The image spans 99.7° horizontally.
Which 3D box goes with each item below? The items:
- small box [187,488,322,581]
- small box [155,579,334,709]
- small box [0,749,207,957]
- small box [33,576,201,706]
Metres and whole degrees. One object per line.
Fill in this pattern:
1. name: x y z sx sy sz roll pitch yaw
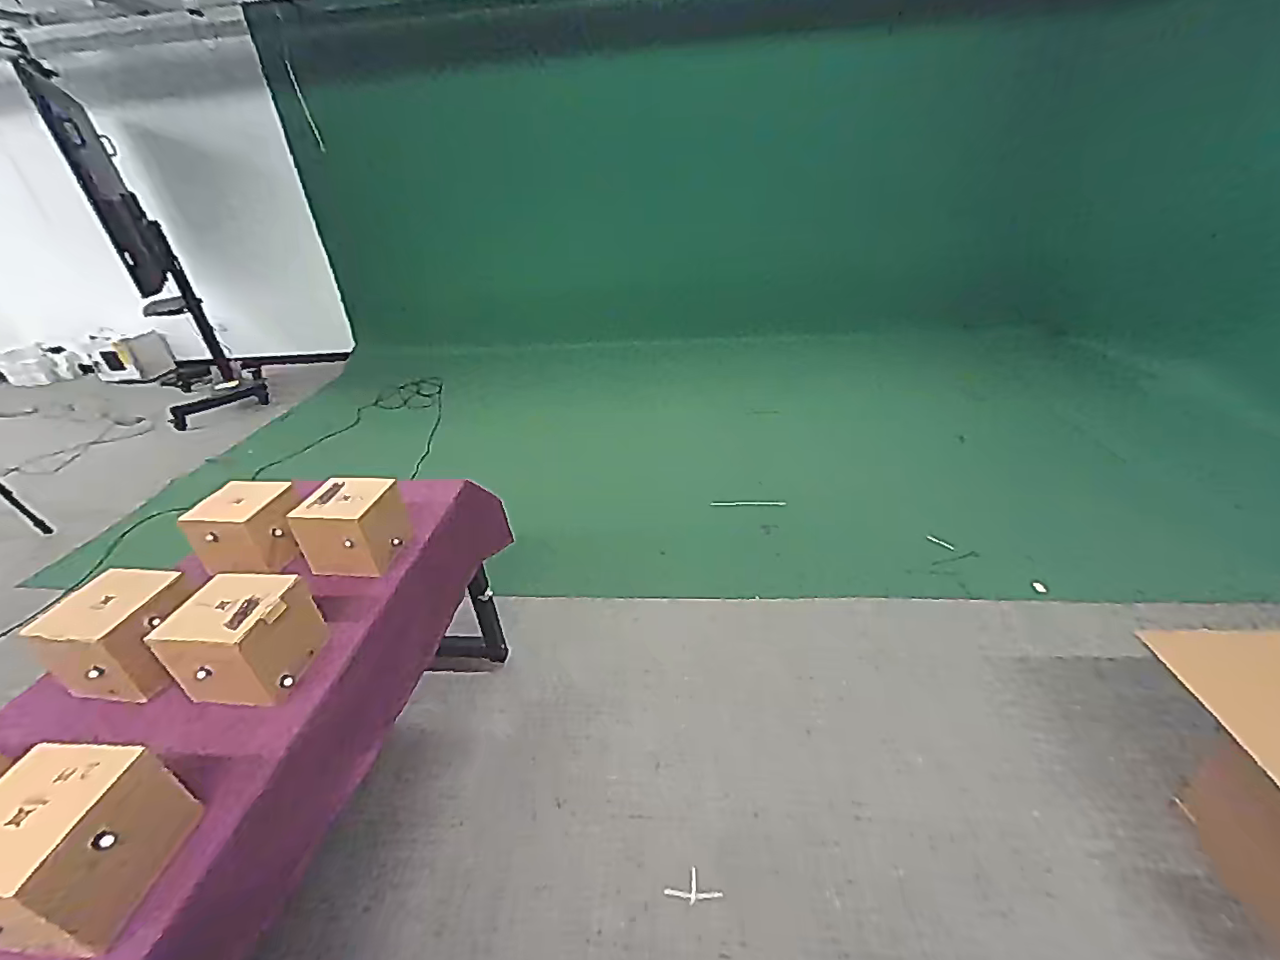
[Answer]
1. small box: -0.923 0.134 1.315 0.179 0.176 0.168 0 32 10
2. small box: -0.713 0.304 1.002 0.179 0.176 0.168 -1 31 9
3. small box: -0.731 0.484 0.708 0.168 0.176 0.179 -1 31 7
4. small box: -0.960 0.307 1.039 0.168 0.176 0.179 1 31 9
